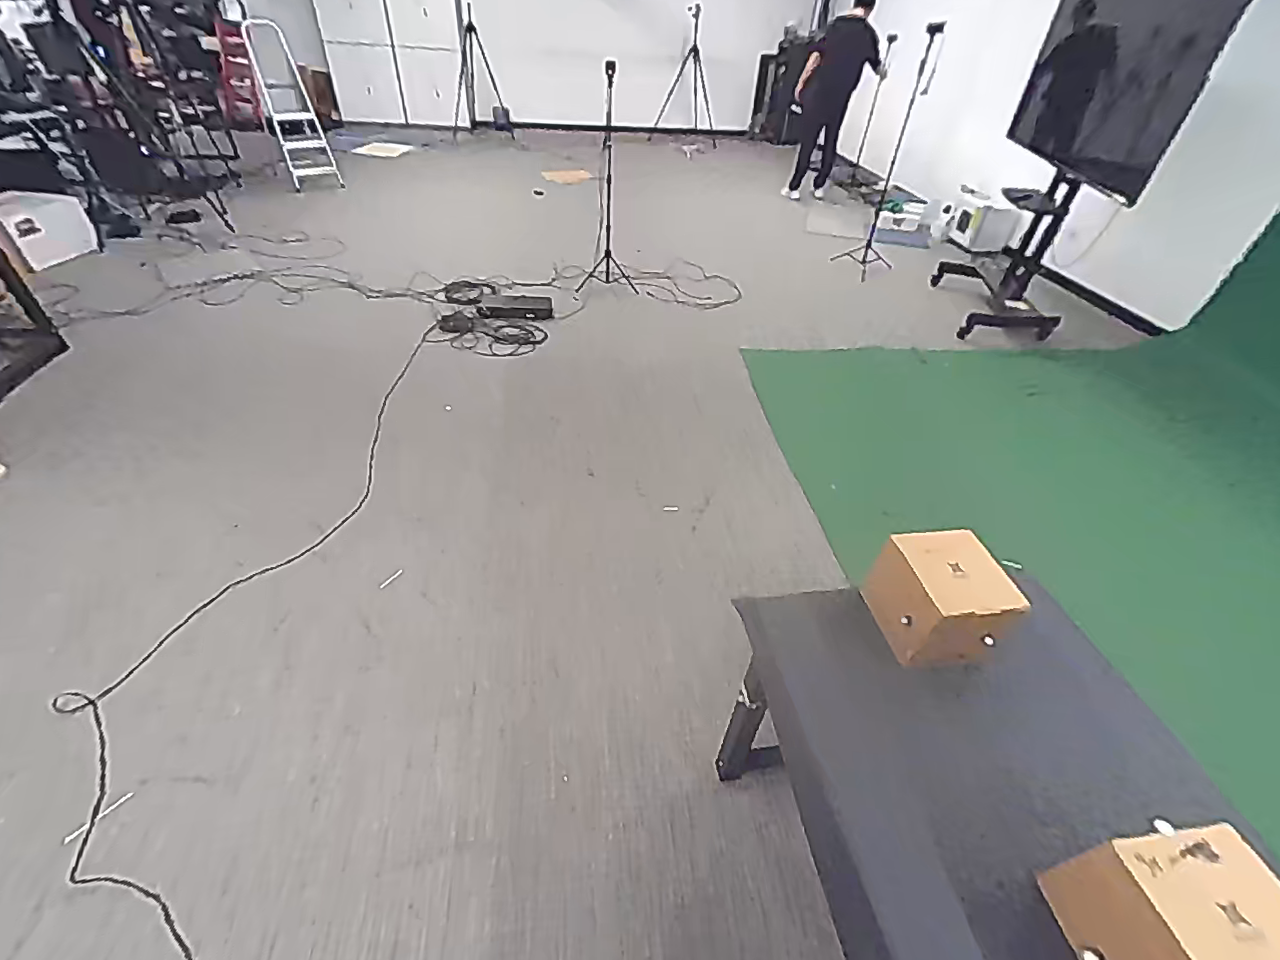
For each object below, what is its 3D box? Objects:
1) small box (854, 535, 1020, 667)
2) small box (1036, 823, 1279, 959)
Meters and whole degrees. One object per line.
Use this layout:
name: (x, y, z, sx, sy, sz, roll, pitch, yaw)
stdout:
small box: (0.525, 0.223, 0.985, 0.168, 0.176, 0.179, -2, 40, -12)
small box: (0.629, 0.534, 0.632, 0.168, 0.176, 0.179, -1, 41, -10)
